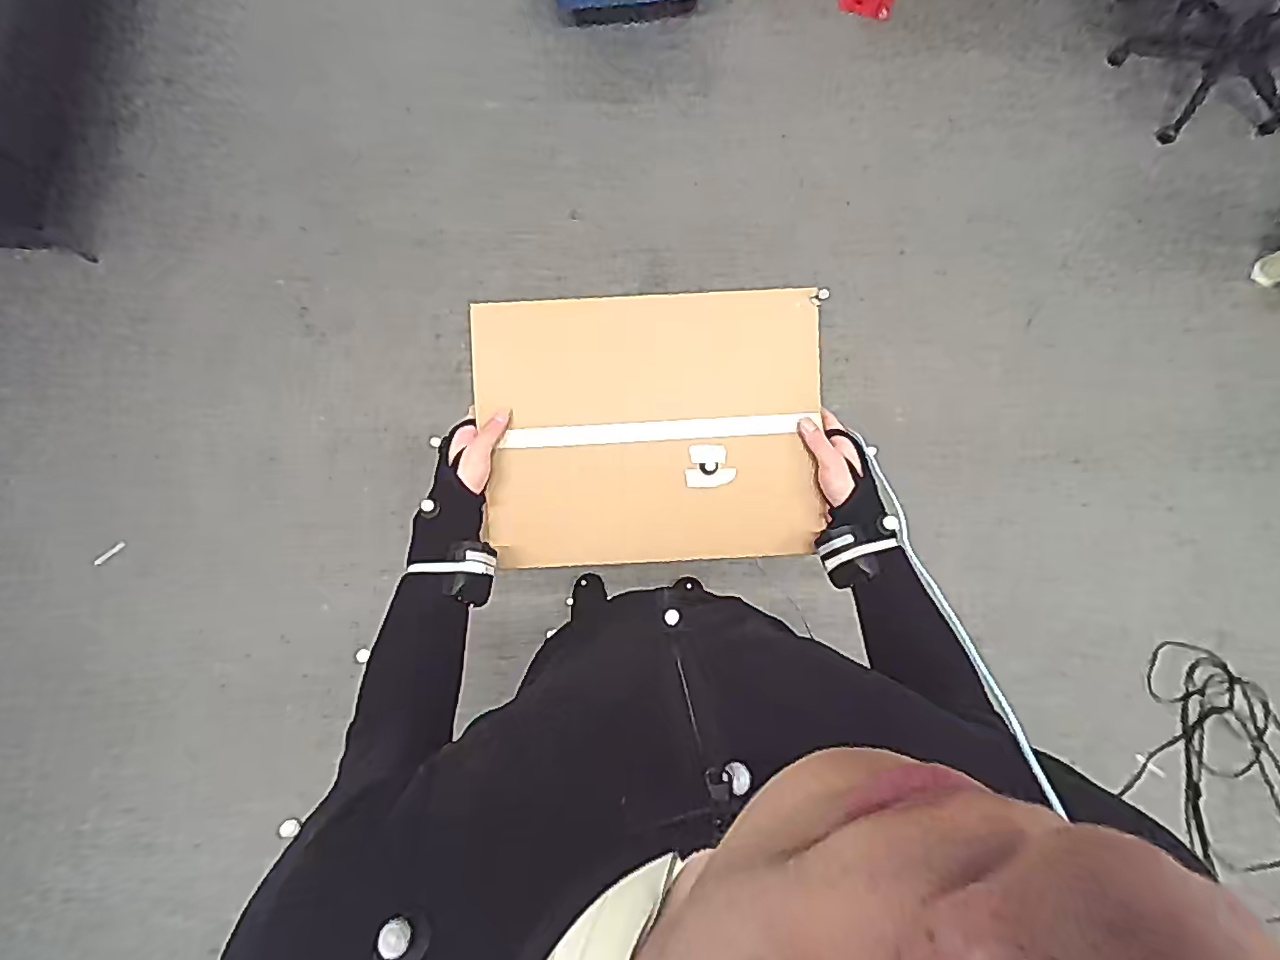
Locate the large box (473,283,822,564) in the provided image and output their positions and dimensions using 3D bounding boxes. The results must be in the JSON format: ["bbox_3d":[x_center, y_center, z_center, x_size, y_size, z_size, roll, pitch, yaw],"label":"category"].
[{"bbox_3d":[0.008,-0.072,0.790,0.408,0.320,0.320,-4,93,-1],"label":"large box"}]
